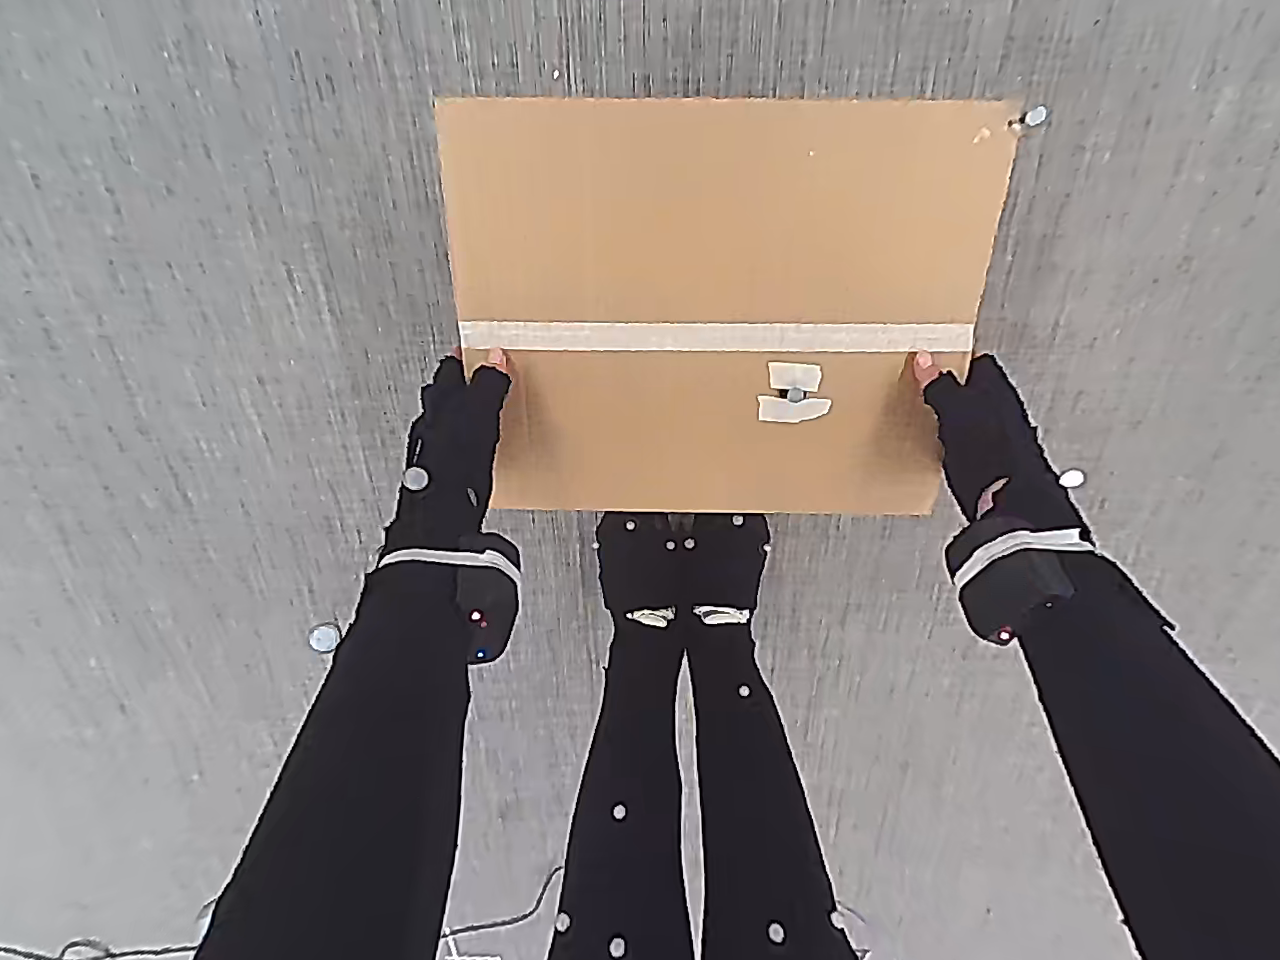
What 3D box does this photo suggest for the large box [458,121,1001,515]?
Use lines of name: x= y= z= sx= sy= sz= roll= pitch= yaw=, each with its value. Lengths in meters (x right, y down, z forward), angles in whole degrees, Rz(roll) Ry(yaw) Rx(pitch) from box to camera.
large box: x=0.066 y=-0.165 z=0.584 sx=0.408 sy=0.320 sz=0.320 roll=0 pitch=112 yaw=1
